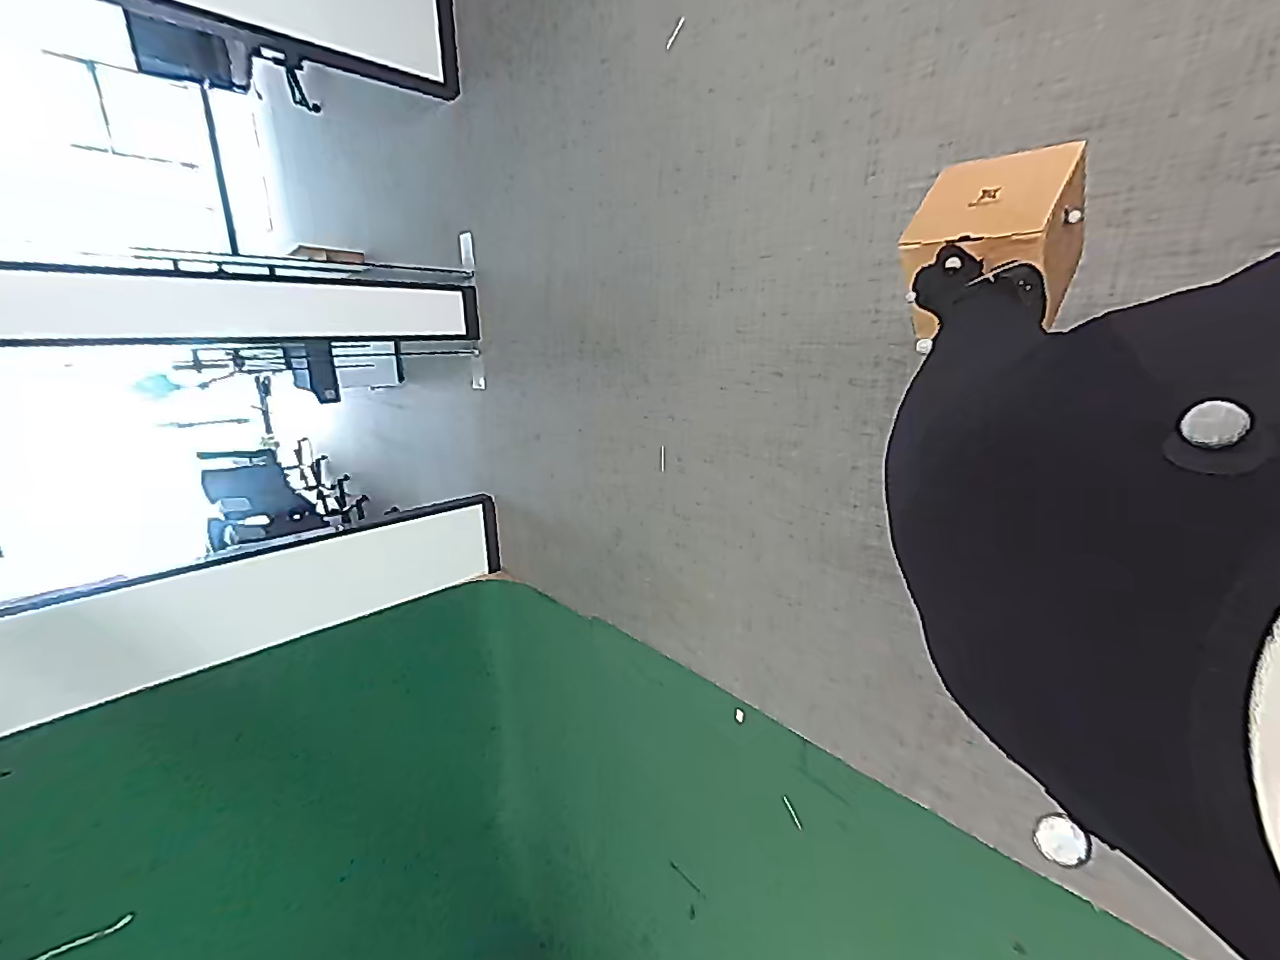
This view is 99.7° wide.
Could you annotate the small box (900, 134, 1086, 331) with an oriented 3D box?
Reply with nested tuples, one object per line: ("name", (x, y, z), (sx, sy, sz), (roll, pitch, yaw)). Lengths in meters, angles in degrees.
("small box", (0.491, -0.333, 0.755), (0.168, 0.179, 0.176), (17, 157, 44))
